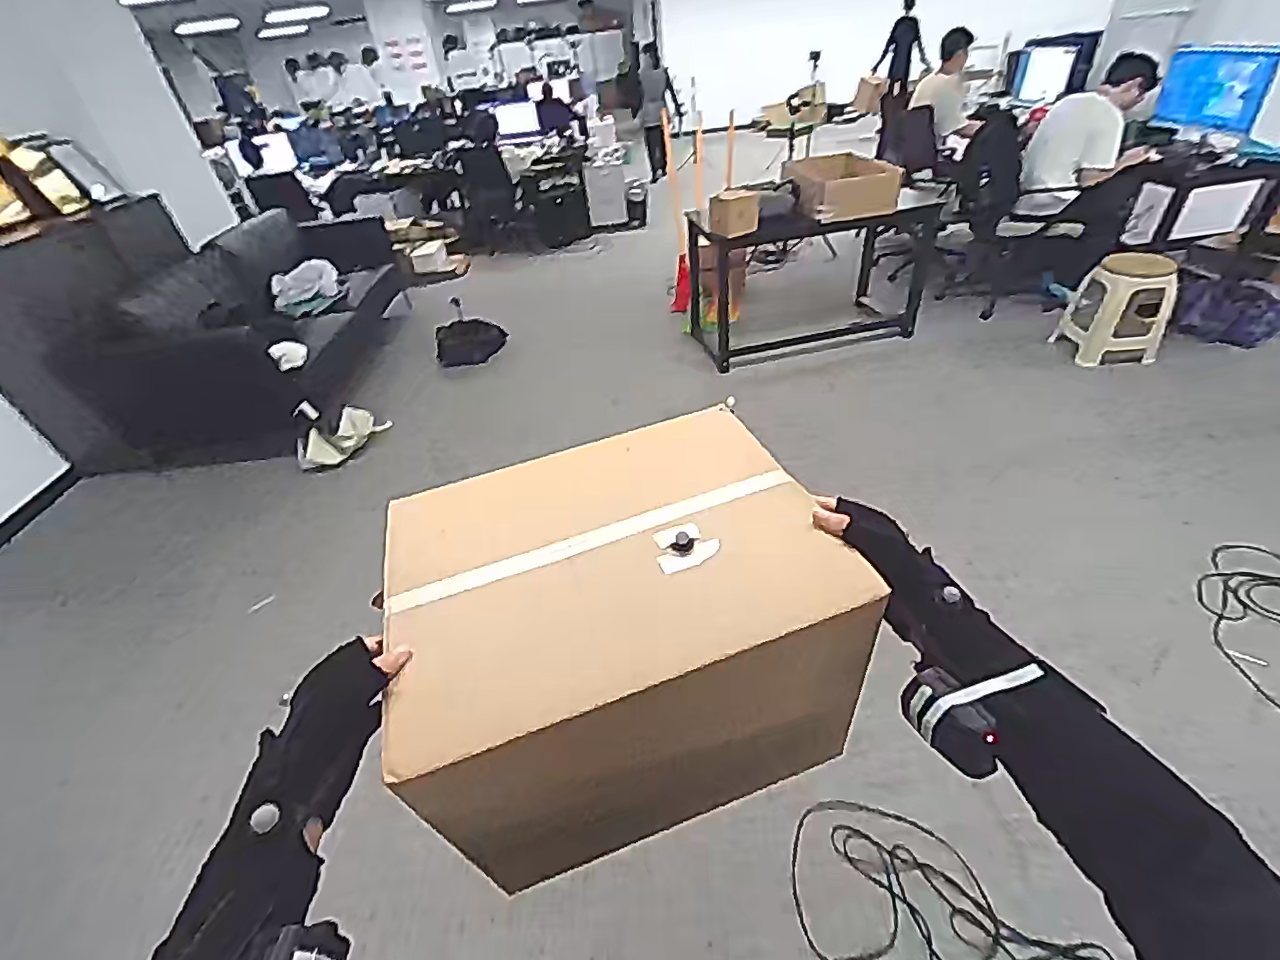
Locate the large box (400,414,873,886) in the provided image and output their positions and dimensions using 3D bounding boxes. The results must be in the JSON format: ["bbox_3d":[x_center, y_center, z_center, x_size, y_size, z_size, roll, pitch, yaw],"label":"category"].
[{"bbox_3d":[-0.018,0.176,0.625,0.408,0.320,0.320,-17,42,-10],"label":"large box"}]
